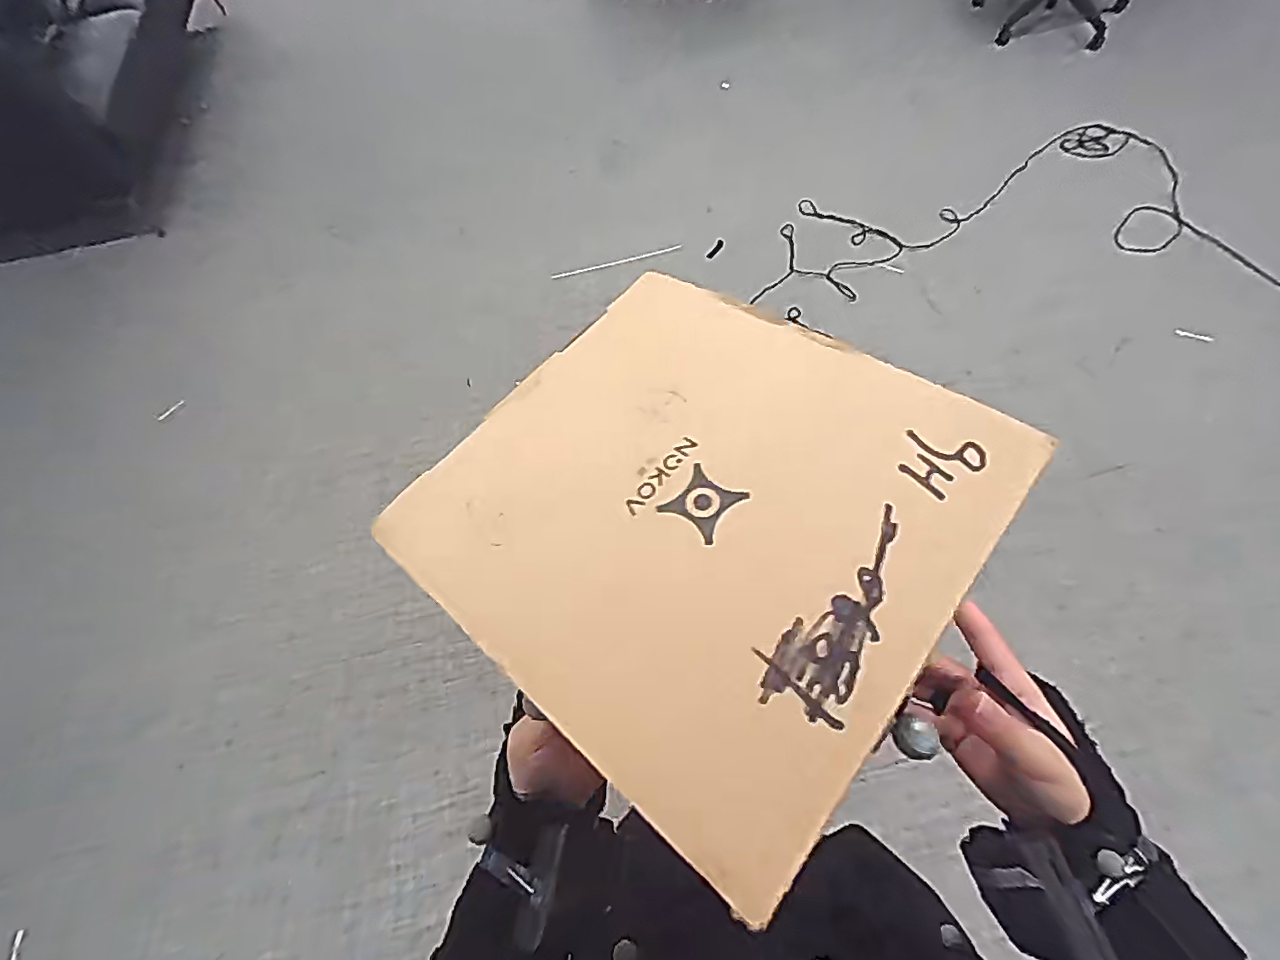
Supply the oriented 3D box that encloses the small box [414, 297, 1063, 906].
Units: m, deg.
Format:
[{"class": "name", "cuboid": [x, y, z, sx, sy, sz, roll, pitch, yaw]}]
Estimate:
[{"class": "small box", "cuboid": [0.039, 0.051, 0.261, 0.179, 0.176, 0.168, 33, 71, 28]}]
